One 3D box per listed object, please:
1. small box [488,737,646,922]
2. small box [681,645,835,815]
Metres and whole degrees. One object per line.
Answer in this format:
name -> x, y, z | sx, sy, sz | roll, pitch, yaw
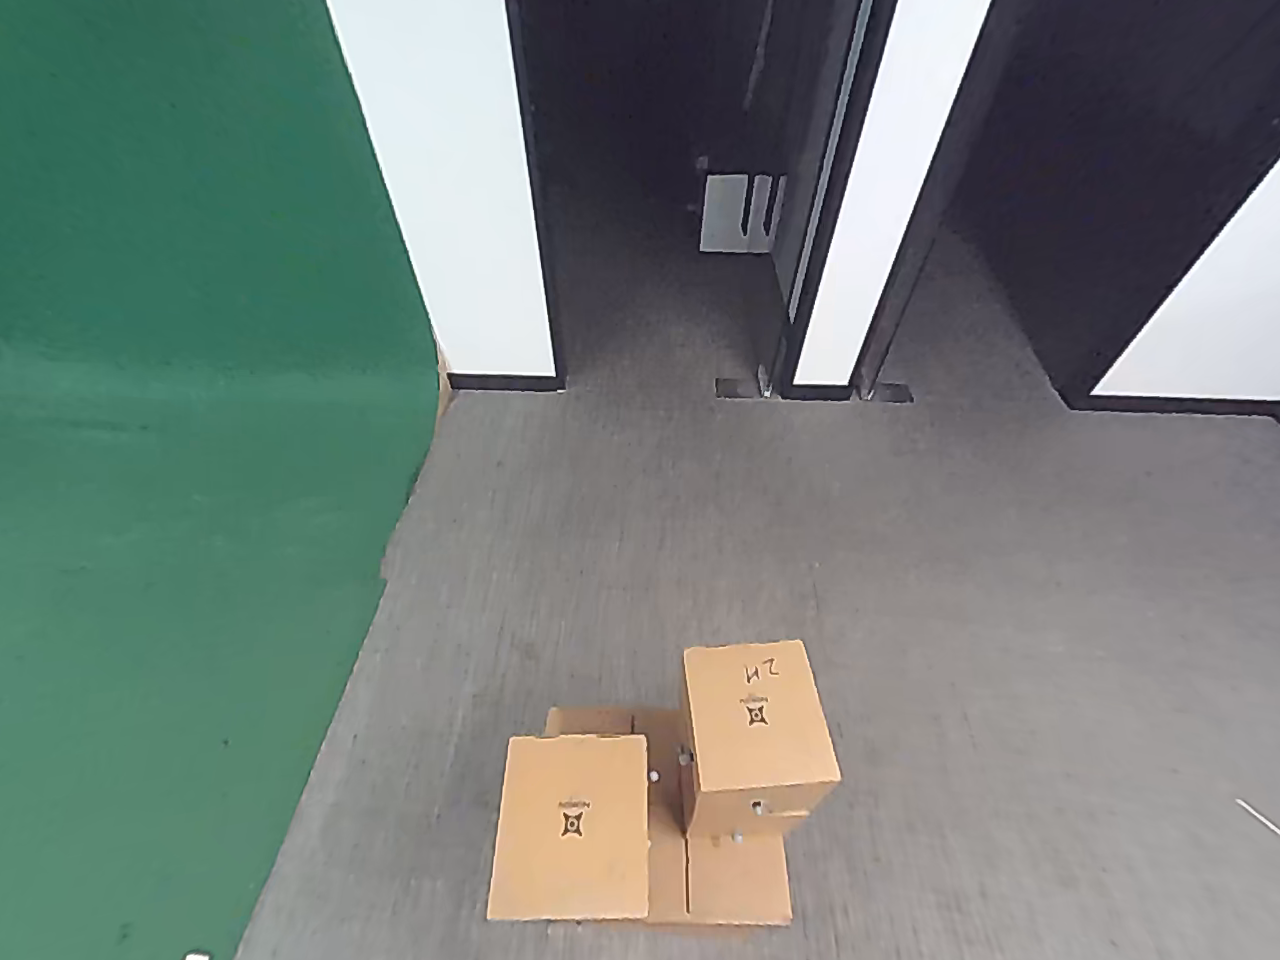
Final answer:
small box -> -0.076, 0.431, 0.669 | 0.168, 0.176, 0.179 | 0, 51, -1
small box -> 0.146, 0.346, 0.740 | 0.168, 0.176, 0.179 | -3, 49, -1
